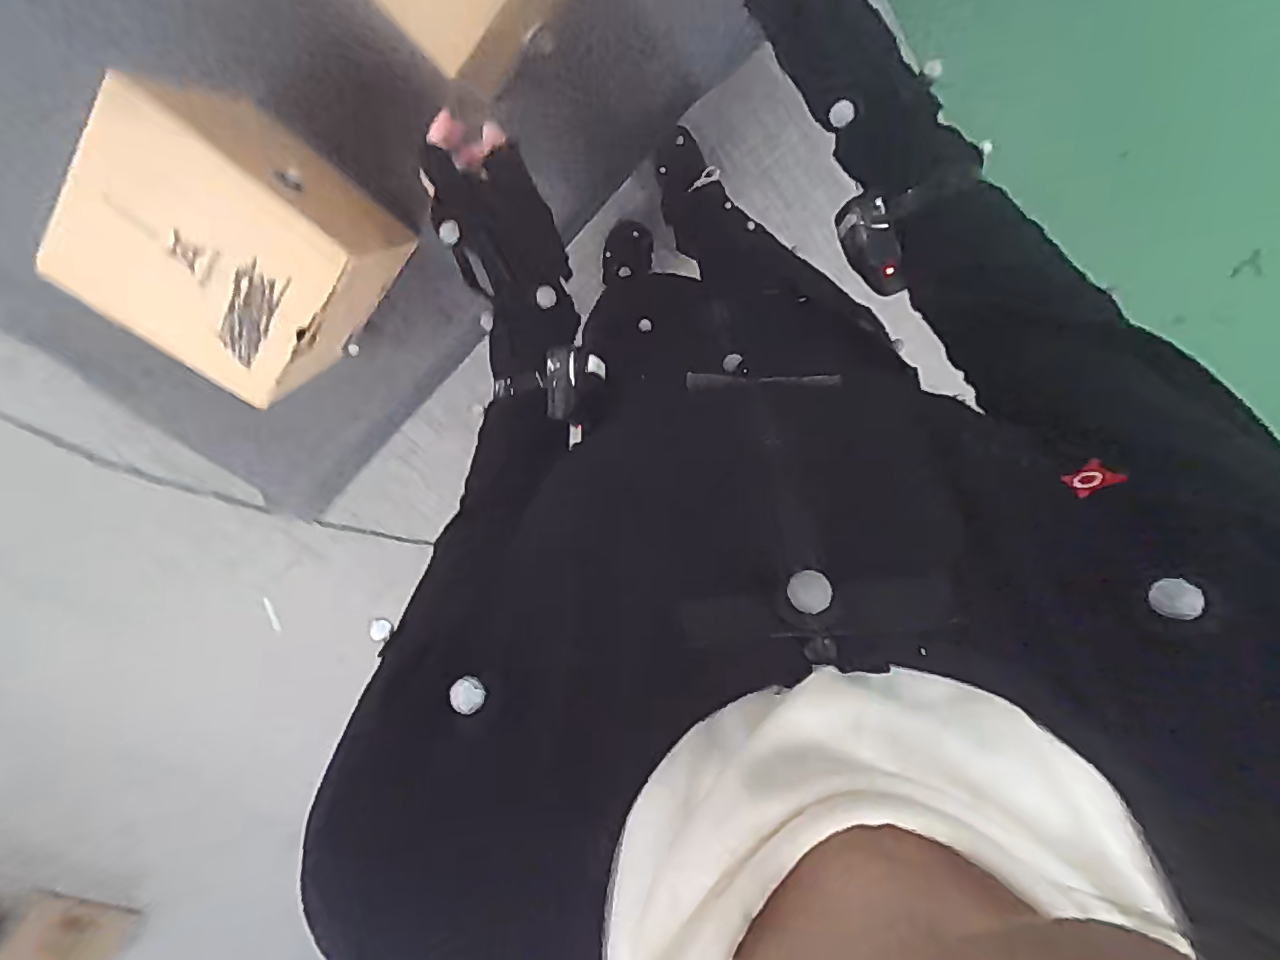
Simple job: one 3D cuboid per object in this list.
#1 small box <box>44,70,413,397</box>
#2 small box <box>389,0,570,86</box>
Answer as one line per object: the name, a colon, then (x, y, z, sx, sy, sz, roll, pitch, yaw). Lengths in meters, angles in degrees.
small box: (-0.337, -0.211, 0.482, 0.179, 0.176, 0.168, 38, 110, -20)
small box: (-0.134, -0.423, 0.383, 0.179, 0.176, 0.168, 39, 111, -24)
